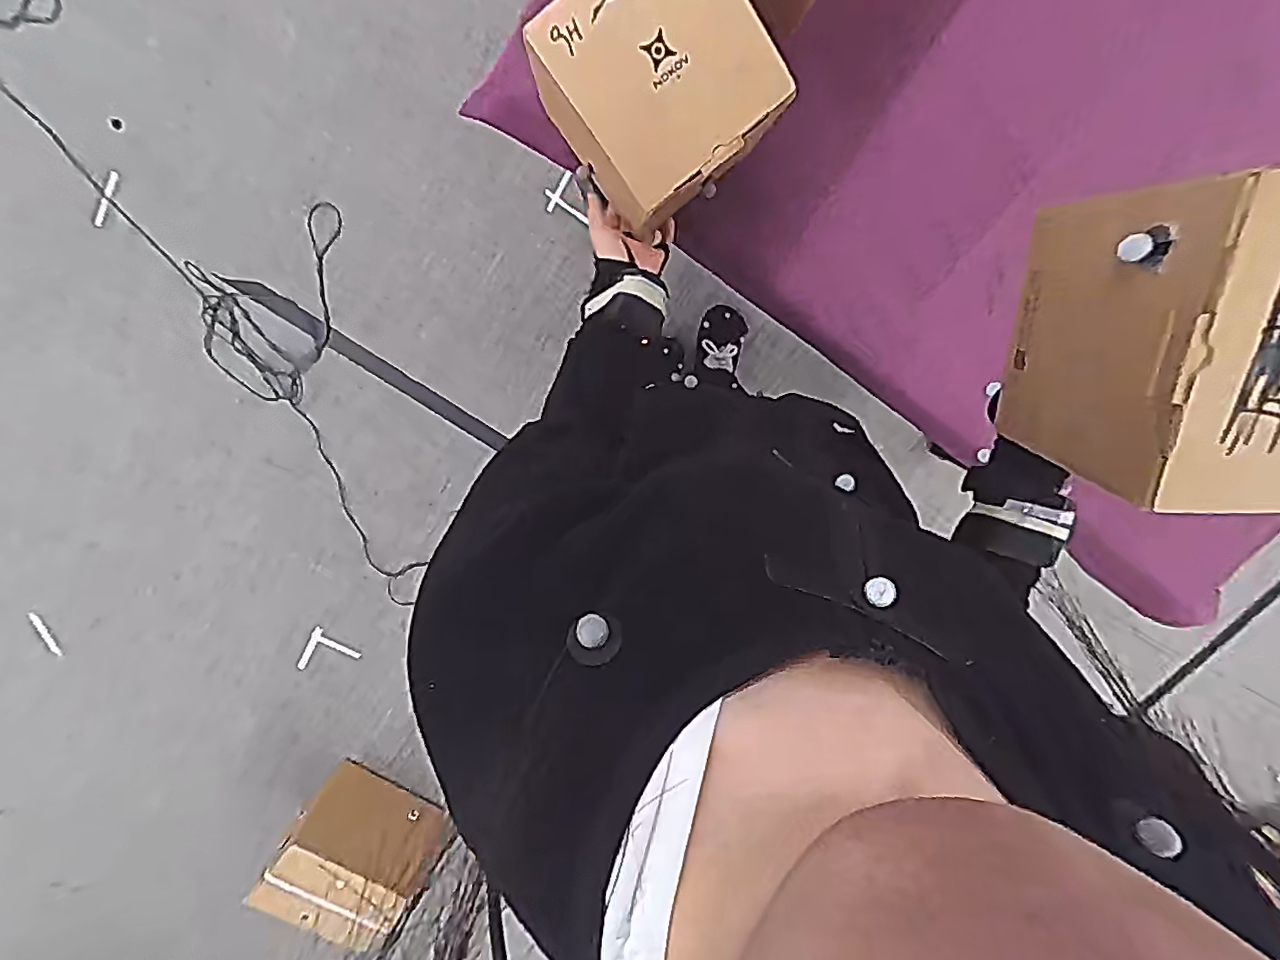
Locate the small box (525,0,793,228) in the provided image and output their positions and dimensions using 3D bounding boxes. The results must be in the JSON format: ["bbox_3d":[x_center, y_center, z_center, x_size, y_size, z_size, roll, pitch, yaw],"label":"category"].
[{"bbox_3d":[0.015,-0.374,0.533,0.168,0.176,0.179,-37,105,7],"label":"small box"}]

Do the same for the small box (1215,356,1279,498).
[{"bbox_3d":[0.888,-0.064,0.668,0.168,0.176,0.179,37,103,-12],"label":"small box"}]
